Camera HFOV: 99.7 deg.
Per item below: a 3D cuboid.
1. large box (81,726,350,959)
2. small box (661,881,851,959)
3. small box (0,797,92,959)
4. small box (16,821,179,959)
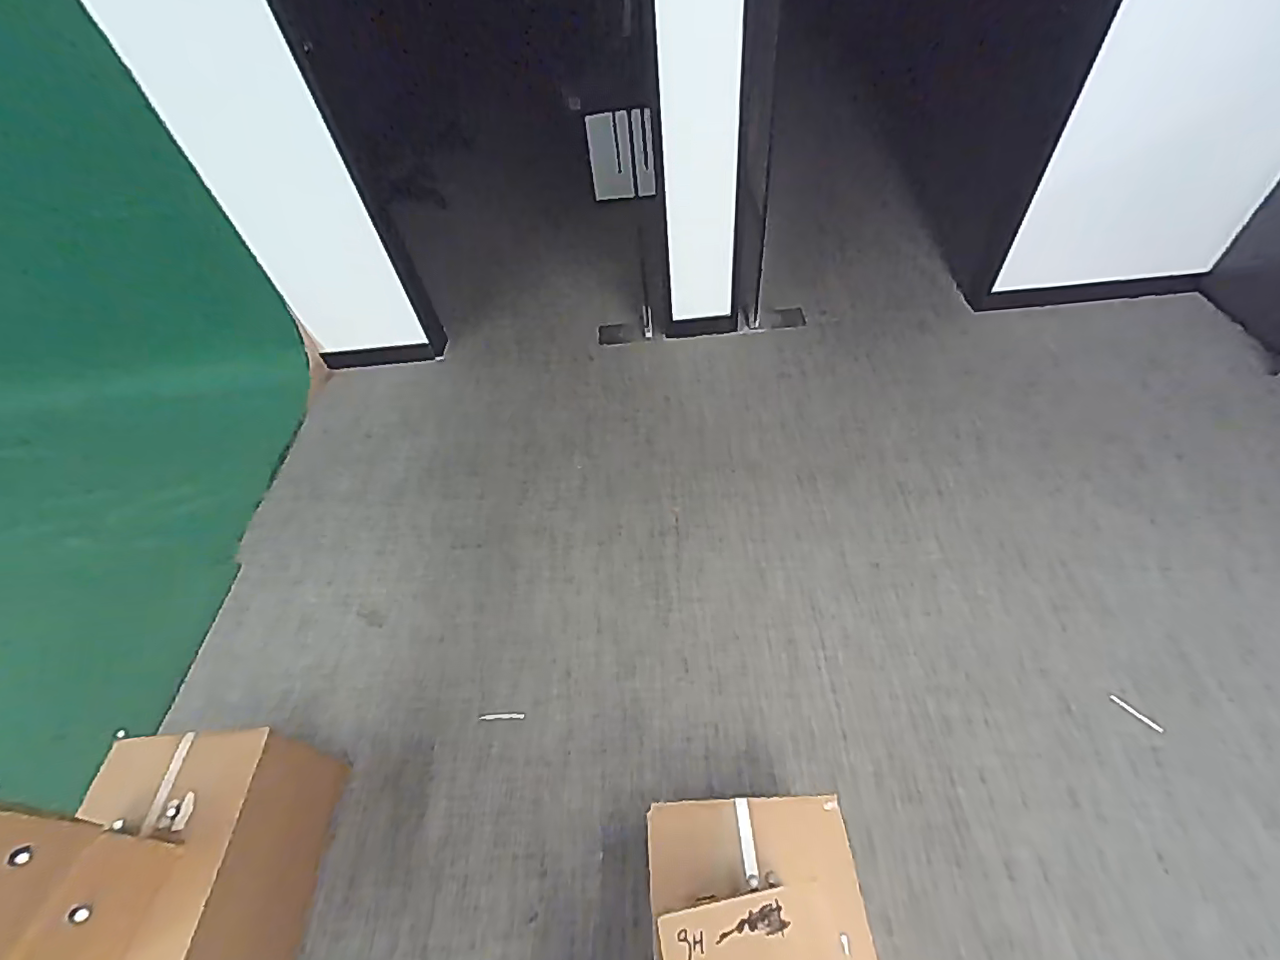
[{"bbox_3d":[-0.824,0.732,1.025,0.320,0.320,0.408,-5,50,3],"label":"large box"},{"bbox_3d":[0.122,0.512,0.524,0.168,0.176,0.179,-11,51,-2],"label":"small box"},{"bbox_3d":[-0.873,0.511,0.686,0.168,0.176,0.179,5,53,13],"label":"small box"},{"bbox_3d":[-0.852,0.620,0.805,0.168,0.176,0.179,3,52,10],"label":"small box"}]
